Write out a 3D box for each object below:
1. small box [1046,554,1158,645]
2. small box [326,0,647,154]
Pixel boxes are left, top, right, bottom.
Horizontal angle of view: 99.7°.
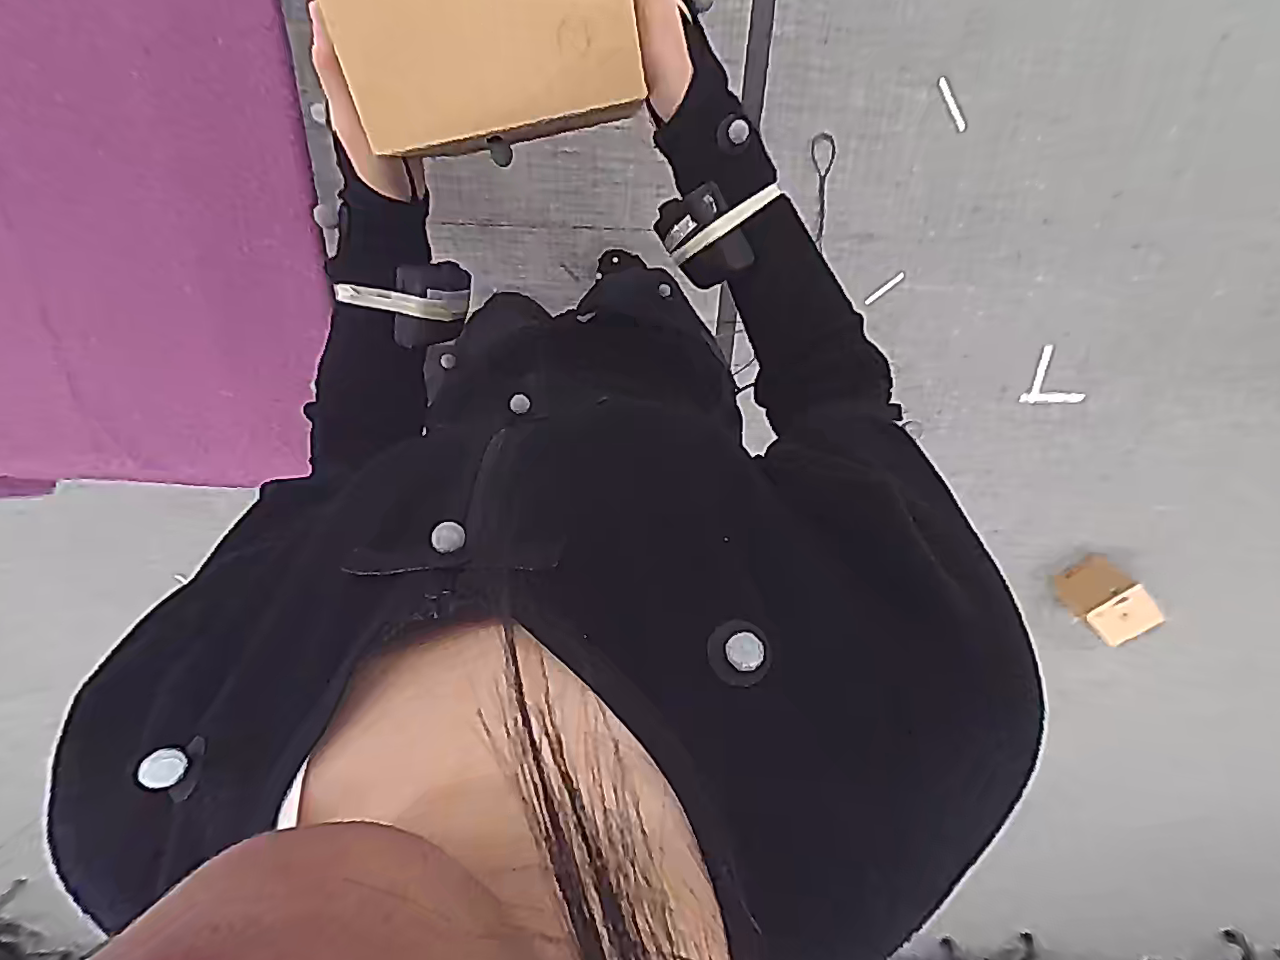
[{"bbox_3d":[1.411,0.361,1.662,0.168,0.176,0.179,-41,108,17],"label":"small box"},{"bbox_3d":[-0.088,-0.319,0.340,0.168,0.176,0.179,-9,119,4],"label":"small box"}]
